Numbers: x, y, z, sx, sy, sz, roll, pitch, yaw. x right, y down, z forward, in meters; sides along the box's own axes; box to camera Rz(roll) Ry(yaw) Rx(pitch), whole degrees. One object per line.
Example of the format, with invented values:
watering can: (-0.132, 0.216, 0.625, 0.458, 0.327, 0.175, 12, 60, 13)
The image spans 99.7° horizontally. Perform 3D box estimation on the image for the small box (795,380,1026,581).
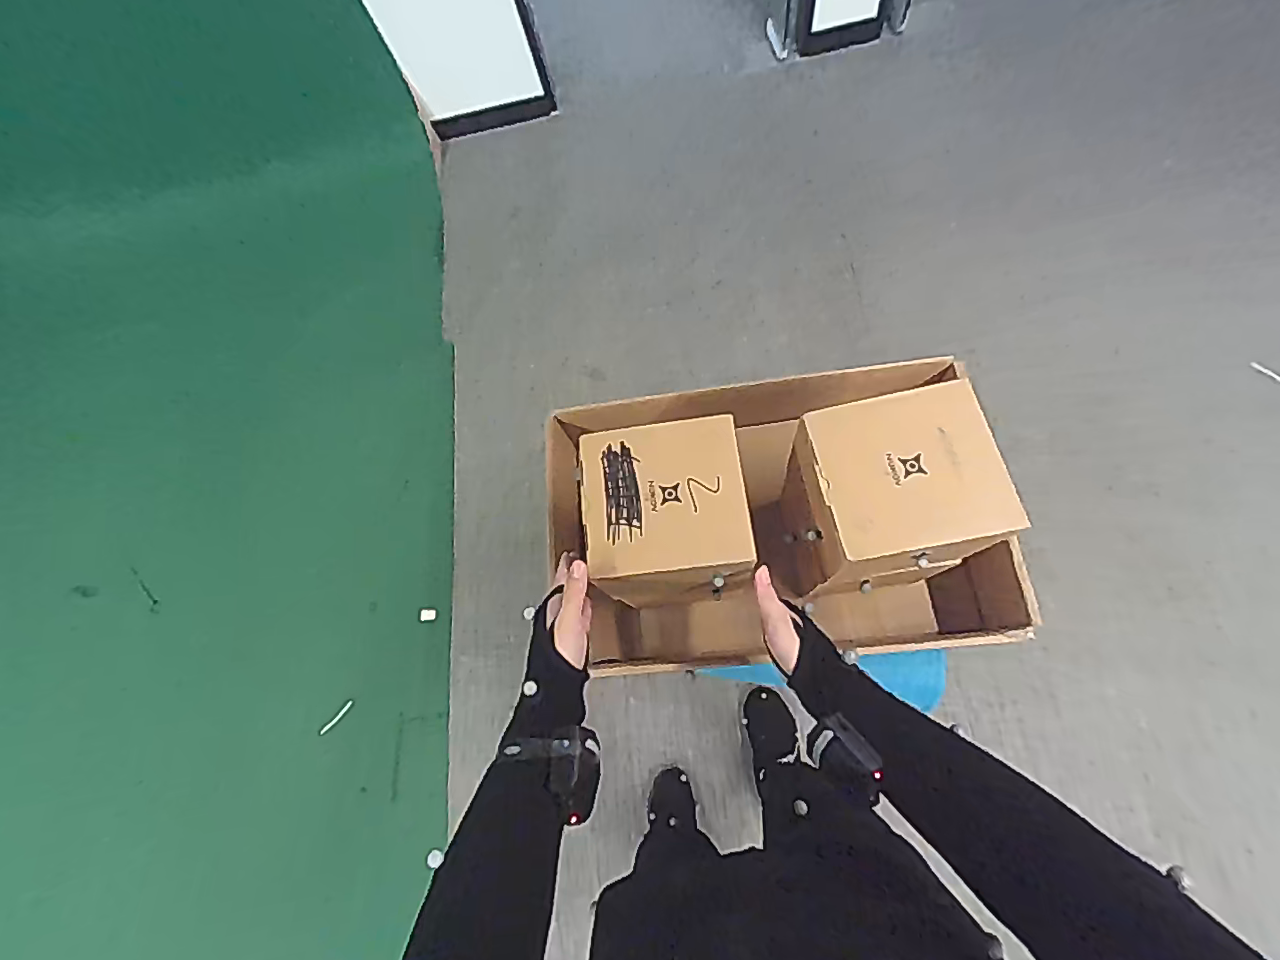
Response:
small box: (0.282, 0.013, 0.616, 0.179, 0.176, 0.168, -12, 71, 7)
